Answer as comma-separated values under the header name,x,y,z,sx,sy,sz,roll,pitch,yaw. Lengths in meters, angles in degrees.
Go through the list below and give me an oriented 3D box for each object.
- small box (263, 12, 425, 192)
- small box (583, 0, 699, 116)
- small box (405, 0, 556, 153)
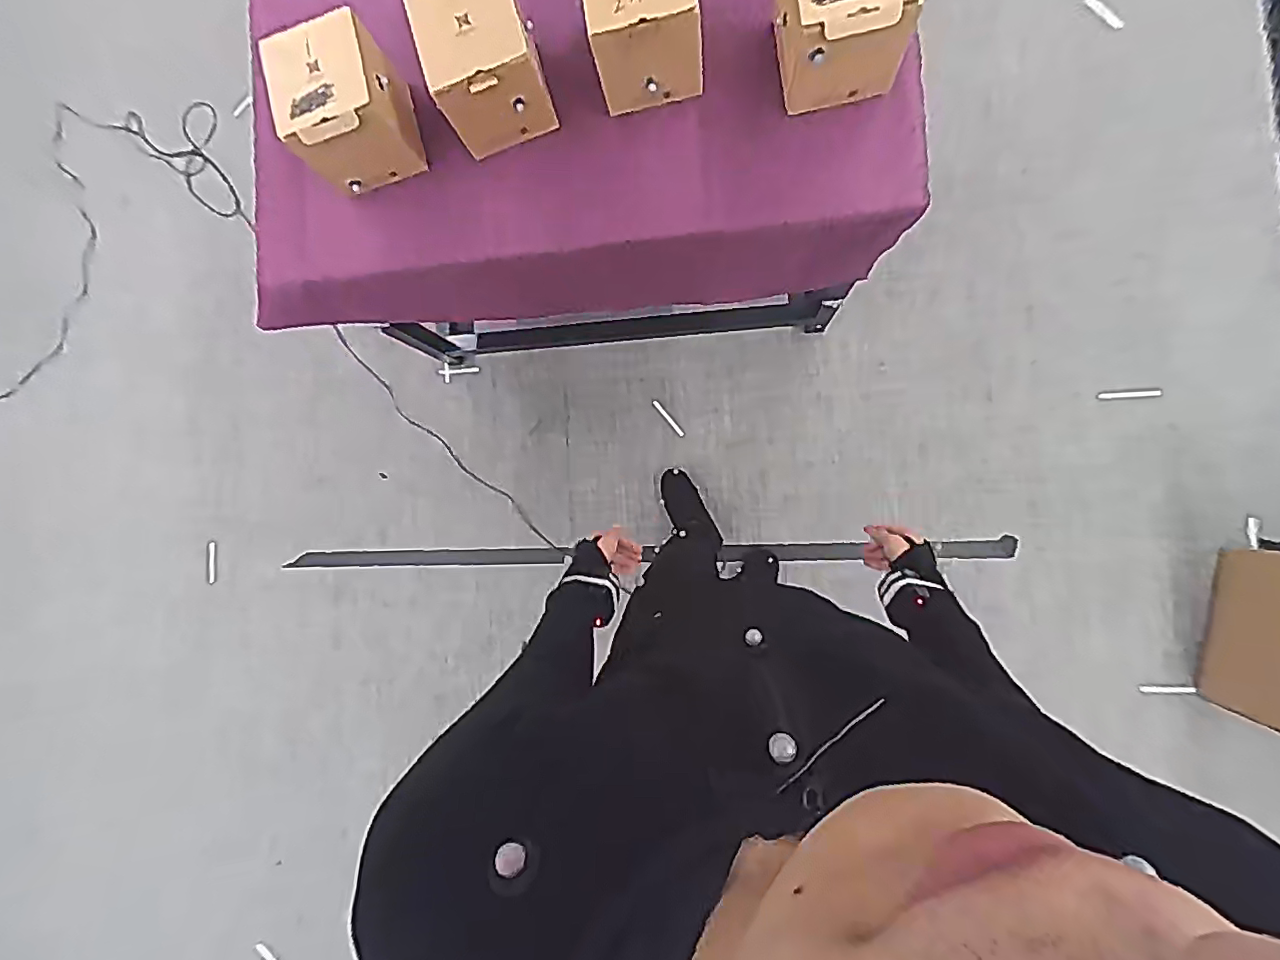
name,x,y,z,sx,sy,sz,roll,pitch,yaw
small box,-0.499,-0.633,0.935,0.168,0.176,0.179,-15,85,7
small box,0.002,-0.739,0.870,0.168,0.176,0.179,-8,87,8
small box,-0.256,-0.687,0.906,0.168,0.176,0.179,-17,85,6
